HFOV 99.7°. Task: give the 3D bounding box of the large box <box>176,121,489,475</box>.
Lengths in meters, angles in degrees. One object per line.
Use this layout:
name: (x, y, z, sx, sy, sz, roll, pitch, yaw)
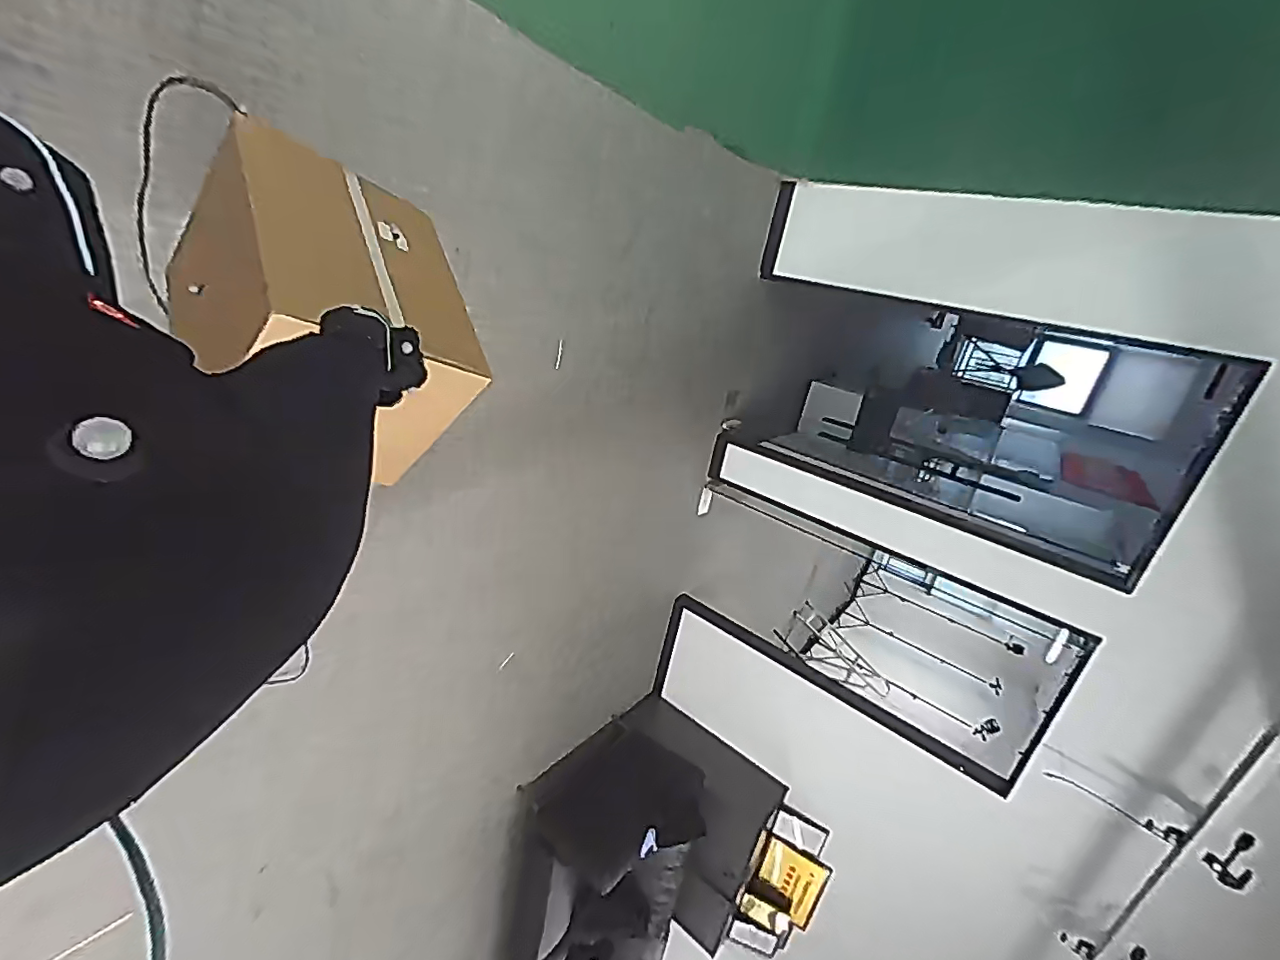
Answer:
large box: (-0.513, -0.259, 0.888, 0.320, 0.408, 0.320, -39, 154, 26)
